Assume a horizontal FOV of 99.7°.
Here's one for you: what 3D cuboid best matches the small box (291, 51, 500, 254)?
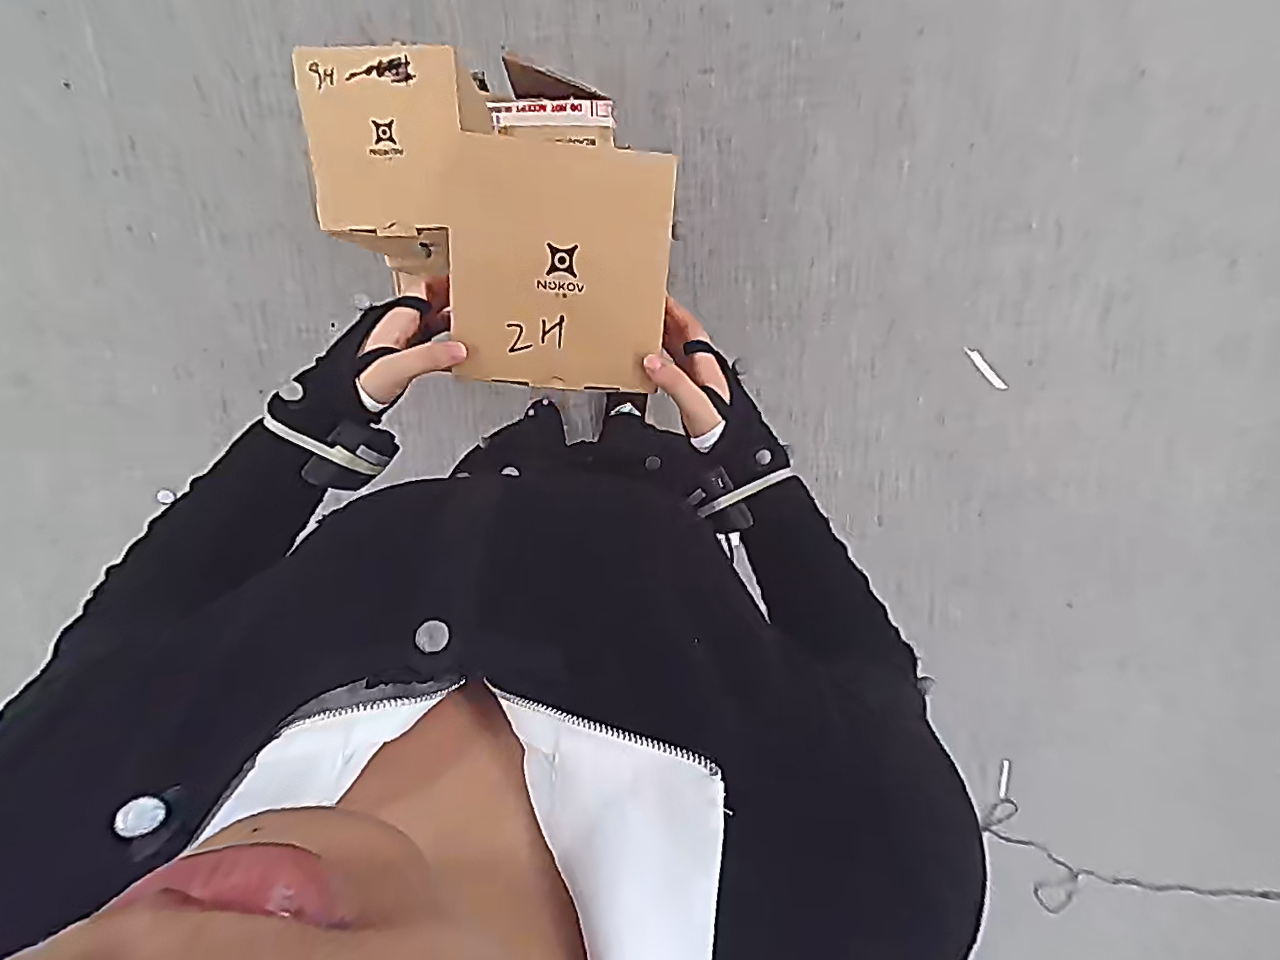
[{"bbox_3d":[-0.270,-0.370,0.644,0.168,0.176,0.179,-2,105,-2],"label":"small box"}]

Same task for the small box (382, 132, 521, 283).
[{"bbox_3d":[-0.280,-0.398,0.806,0.168,0.176,0.179,-4,105,-1],"label":"small box"}]
